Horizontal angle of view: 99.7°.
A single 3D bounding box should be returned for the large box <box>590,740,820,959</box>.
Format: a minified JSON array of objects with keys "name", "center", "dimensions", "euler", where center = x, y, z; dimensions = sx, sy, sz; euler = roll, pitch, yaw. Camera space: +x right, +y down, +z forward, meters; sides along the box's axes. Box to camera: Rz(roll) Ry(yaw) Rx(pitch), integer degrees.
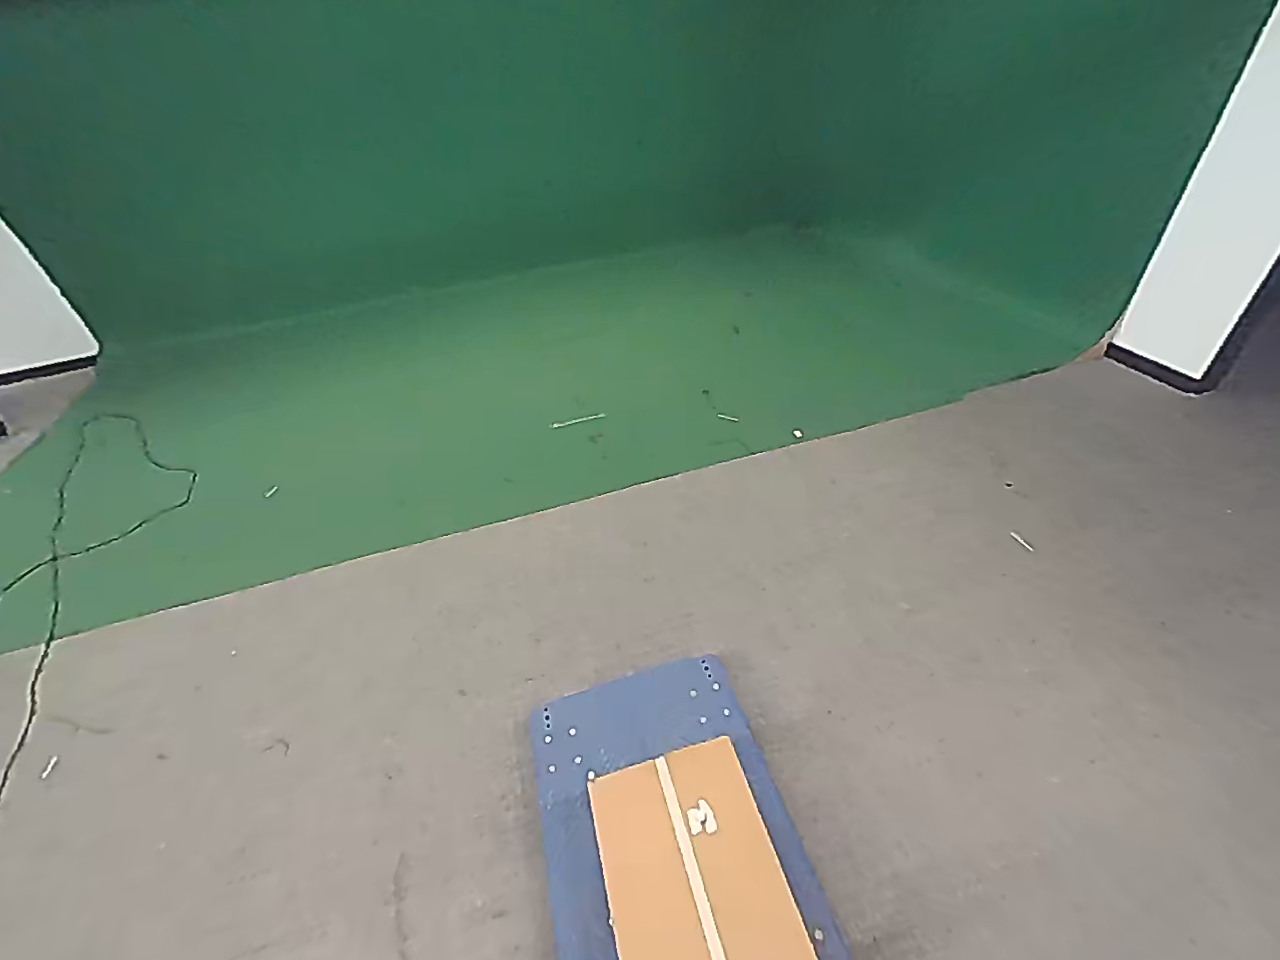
[{"name":"large box","center":[0.112,0.820,1.074],"dimensions":[0.320,0.320,0.408],"euler":[-14,39,-8]}]
